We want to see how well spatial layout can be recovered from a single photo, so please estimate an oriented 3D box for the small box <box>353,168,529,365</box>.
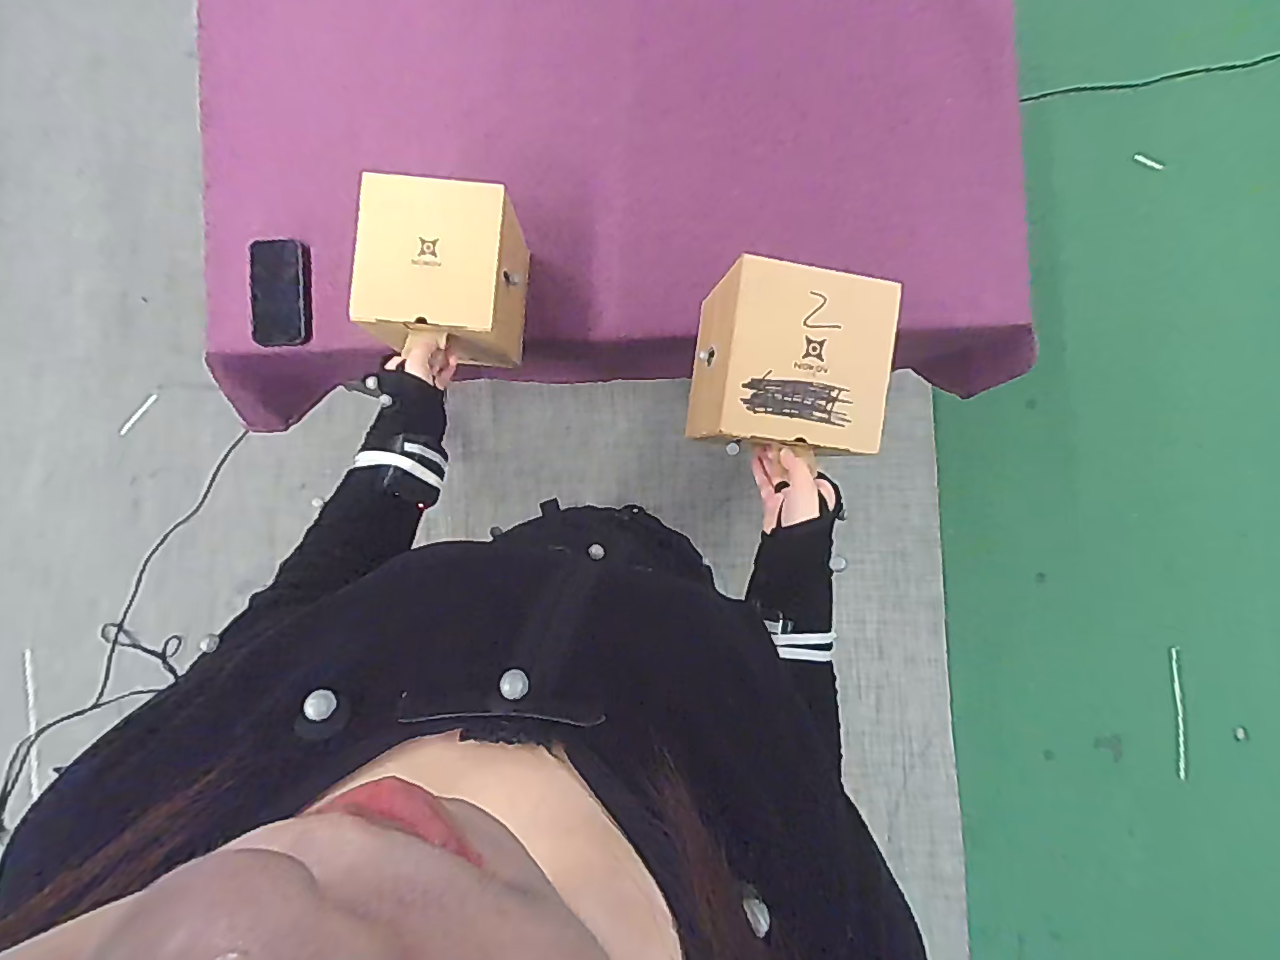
[{"bbox_3d":[-0.243,-0.263,0.702,0.168,0.176,0.179,6,88,-3],"label":"small box"}]
